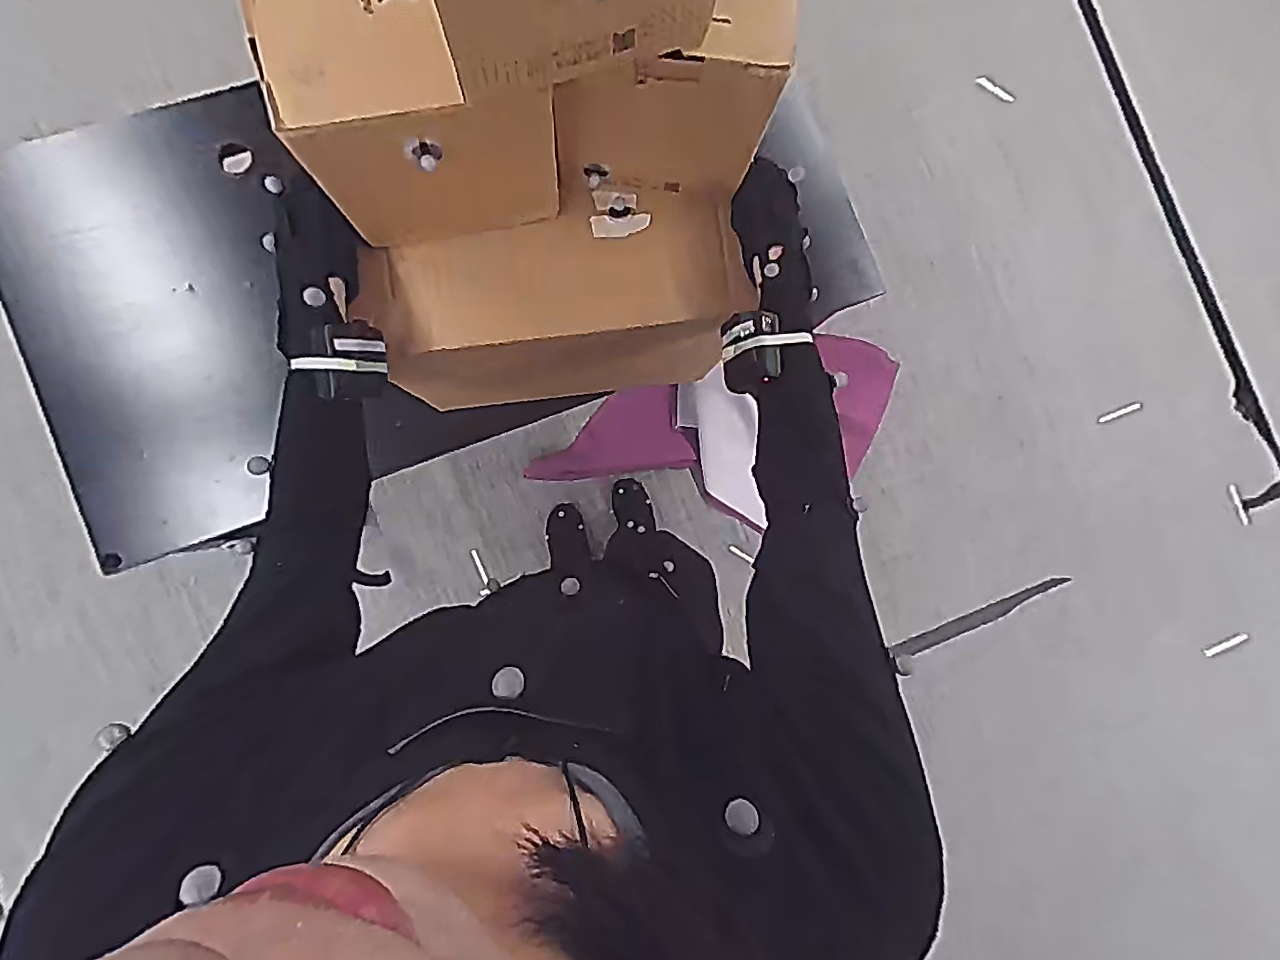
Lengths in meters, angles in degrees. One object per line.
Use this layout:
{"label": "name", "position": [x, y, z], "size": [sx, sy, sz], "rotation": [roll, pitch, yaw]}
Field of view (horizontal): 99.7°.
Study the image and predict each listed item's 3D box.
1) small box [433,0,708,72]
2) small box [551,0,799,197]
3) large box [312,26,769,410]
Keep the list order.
{"label": "small box", "position": [-0.050, -0.346, 0.265], "size": [0.168, 0.176, 0.179], "rotation": [-20, 91, -6]}
{"label": "small box", "position": [0.022, -0.362, 0.437], "size": [0.168, 0.176, 0.179], "rotation": [5, 87, -5]}
{"label": "large box", "position": [-0.105, -0.287, 0.666], "size": [0.408, 0.320, 0.320], "rotation": [-9, 90, -7]}
